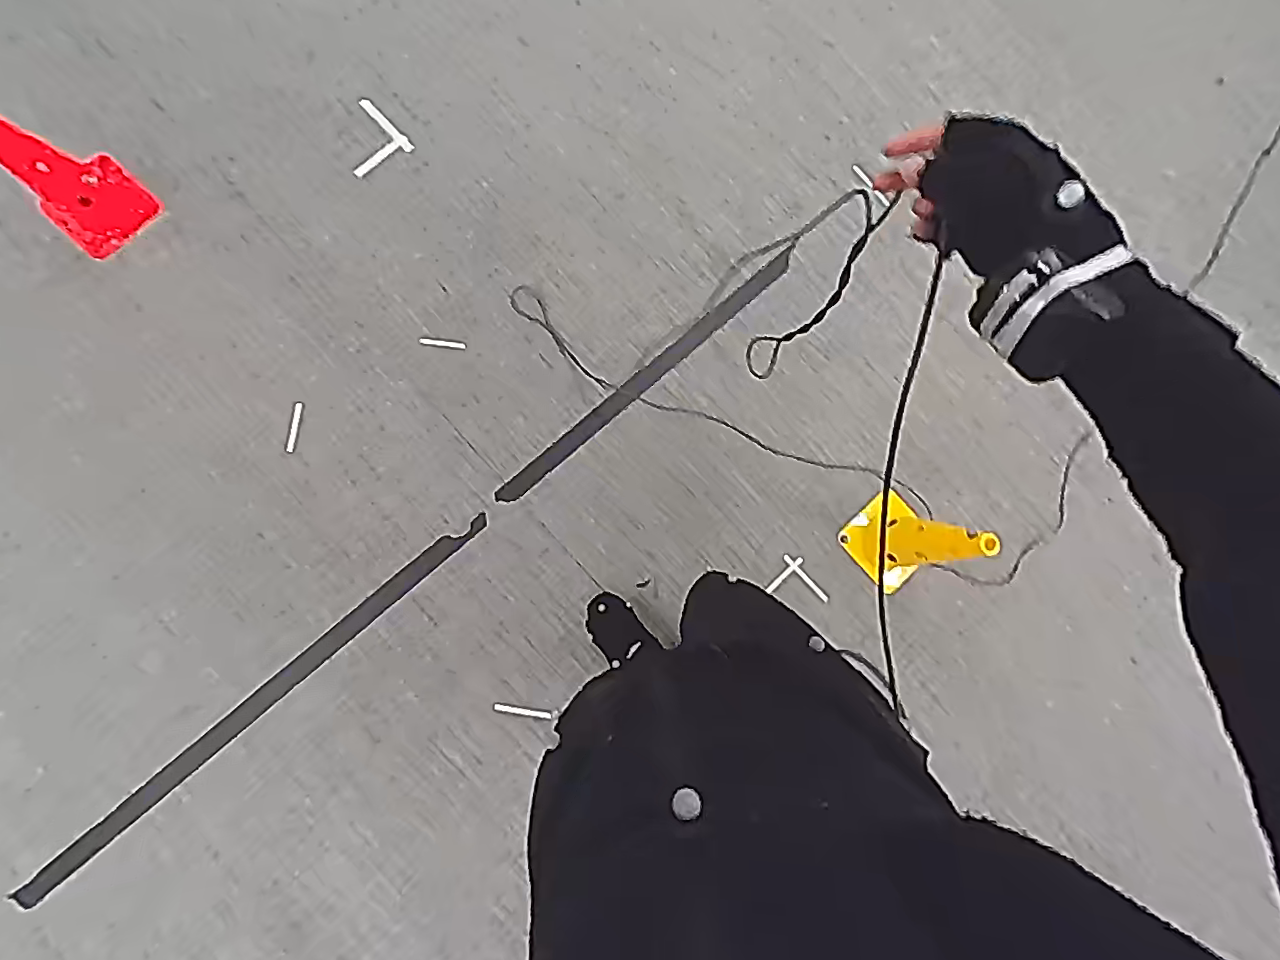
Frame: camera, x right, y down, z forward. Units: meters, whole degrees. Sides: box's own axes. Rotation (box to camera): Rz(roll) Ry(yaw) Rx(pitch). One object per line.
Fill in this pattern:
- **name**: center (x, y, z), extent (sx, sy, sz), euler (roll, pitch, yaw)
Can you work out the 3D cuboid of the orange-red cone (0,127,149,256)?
- **orange-red cone**: center (-1.272, -0.658, 1.097), extent (0.198, 0.360, 0.199), euler (43, 84, 0)
